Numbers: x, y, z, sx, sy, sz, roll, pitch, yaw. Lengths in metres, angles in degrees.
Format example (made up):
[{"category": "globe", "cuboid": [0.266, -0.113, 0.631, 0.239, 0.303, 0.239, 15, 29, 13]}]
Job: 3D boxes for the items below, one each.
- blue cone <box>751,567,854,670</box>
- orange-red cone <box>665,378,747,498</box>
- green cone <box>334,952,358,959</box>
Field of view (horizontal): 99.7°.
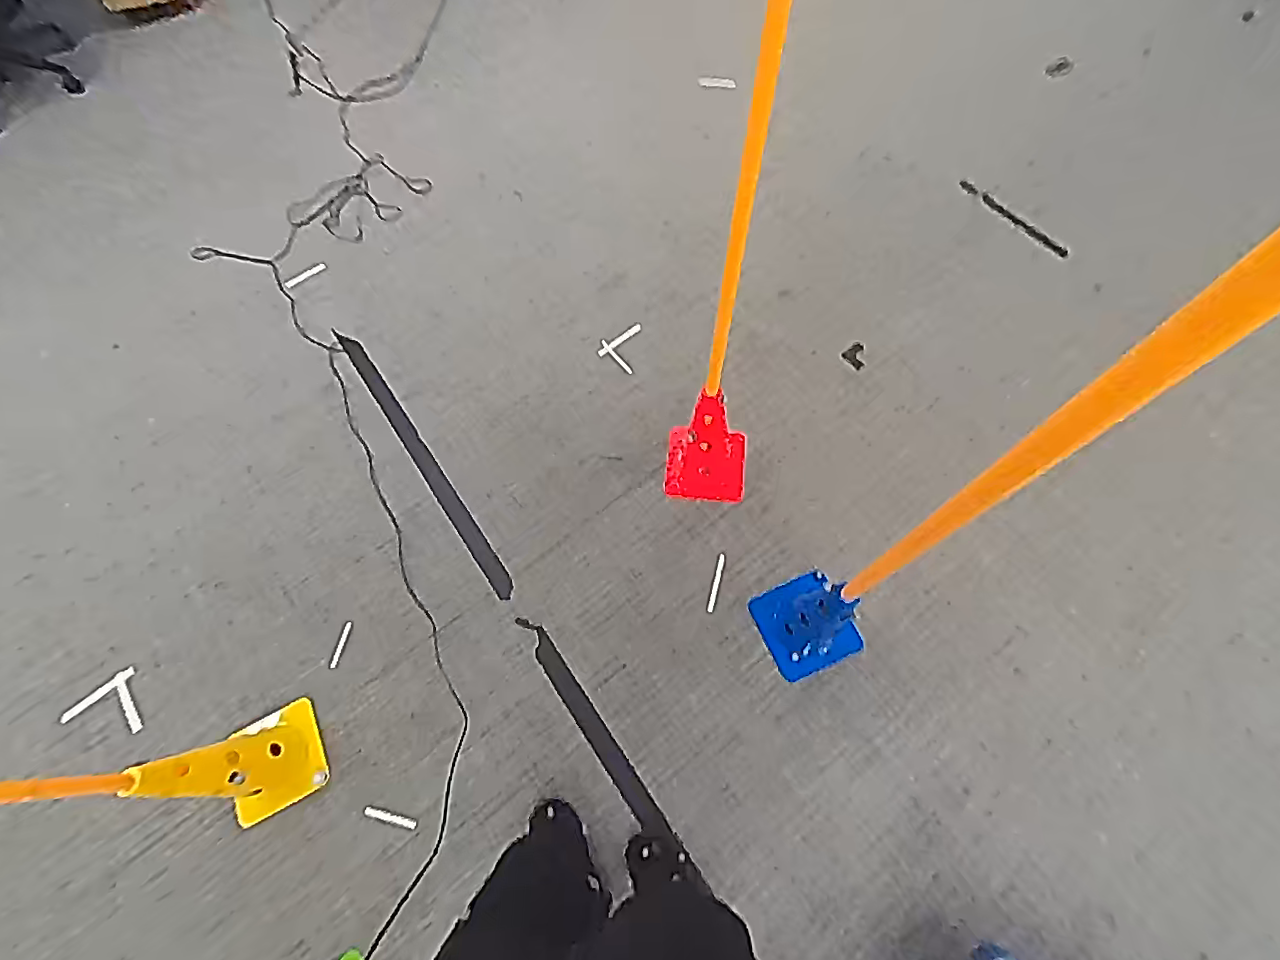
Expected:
[{"category": "blue cone", "cuboid": [0.354, 0.247, 1.071, 0.193, 0.380, 0.192, -22, 66, -5]}, {"category": "orange-red cone", "cuboid": [0.156, -0.117, 1.228, 0.198, 0.360, 0.199, 6, 69, 8]}, {"category": "green cone", "cuboid": [-0.564, 0.948, 0.823, 0.202, 0.368, 0.200, 36, 74, 19]}]
